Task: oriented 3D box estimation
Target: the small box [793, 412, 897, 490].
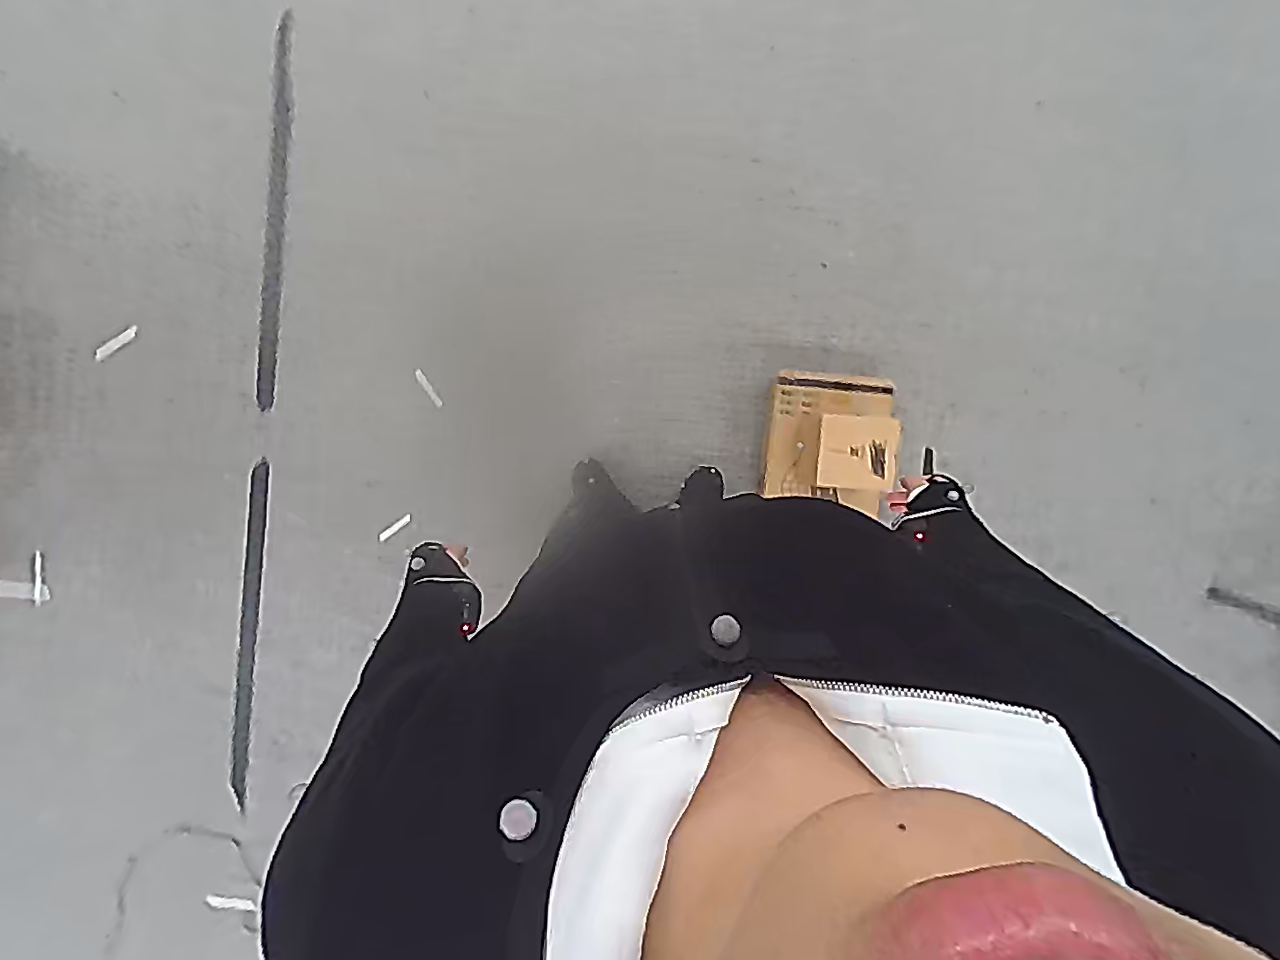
[{"bbox_3d":[0.485,-0.072,1.300,0.179,0.176,0.168,5,95,1],"label":"small box"}]
